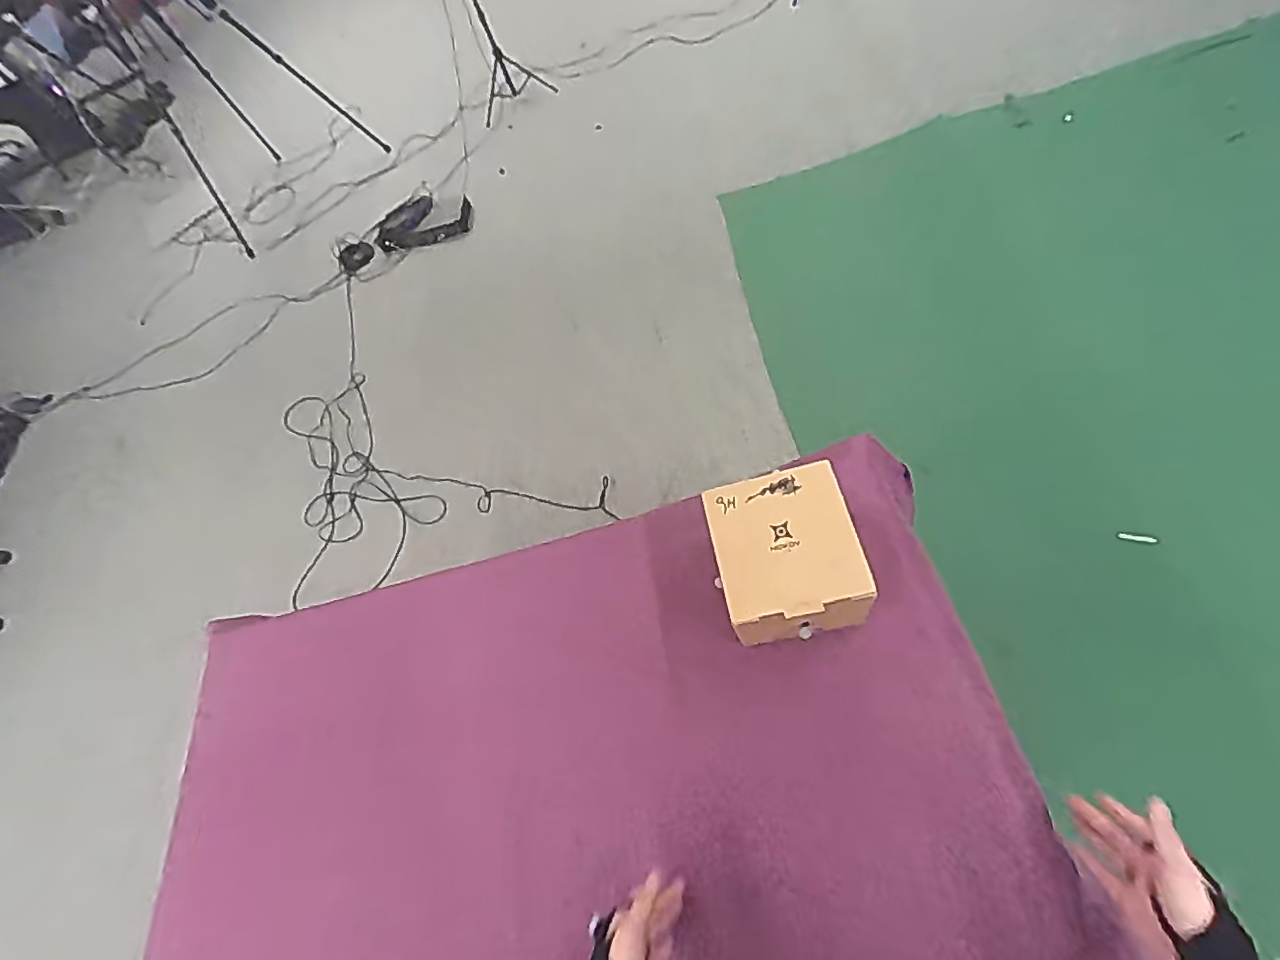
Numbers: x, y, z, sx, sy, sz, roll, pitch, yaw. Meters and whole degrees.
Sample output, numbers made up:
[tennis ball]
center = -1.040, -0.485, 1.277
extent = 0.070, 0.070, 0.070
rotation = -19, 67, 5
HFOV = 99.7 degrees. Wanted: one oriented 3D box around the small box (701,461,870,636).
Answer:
[small box]
center = 0.189, 0.102, 0.718
extent = 0.168, 0.176, 0.179
rotation = -14, 63, 9
